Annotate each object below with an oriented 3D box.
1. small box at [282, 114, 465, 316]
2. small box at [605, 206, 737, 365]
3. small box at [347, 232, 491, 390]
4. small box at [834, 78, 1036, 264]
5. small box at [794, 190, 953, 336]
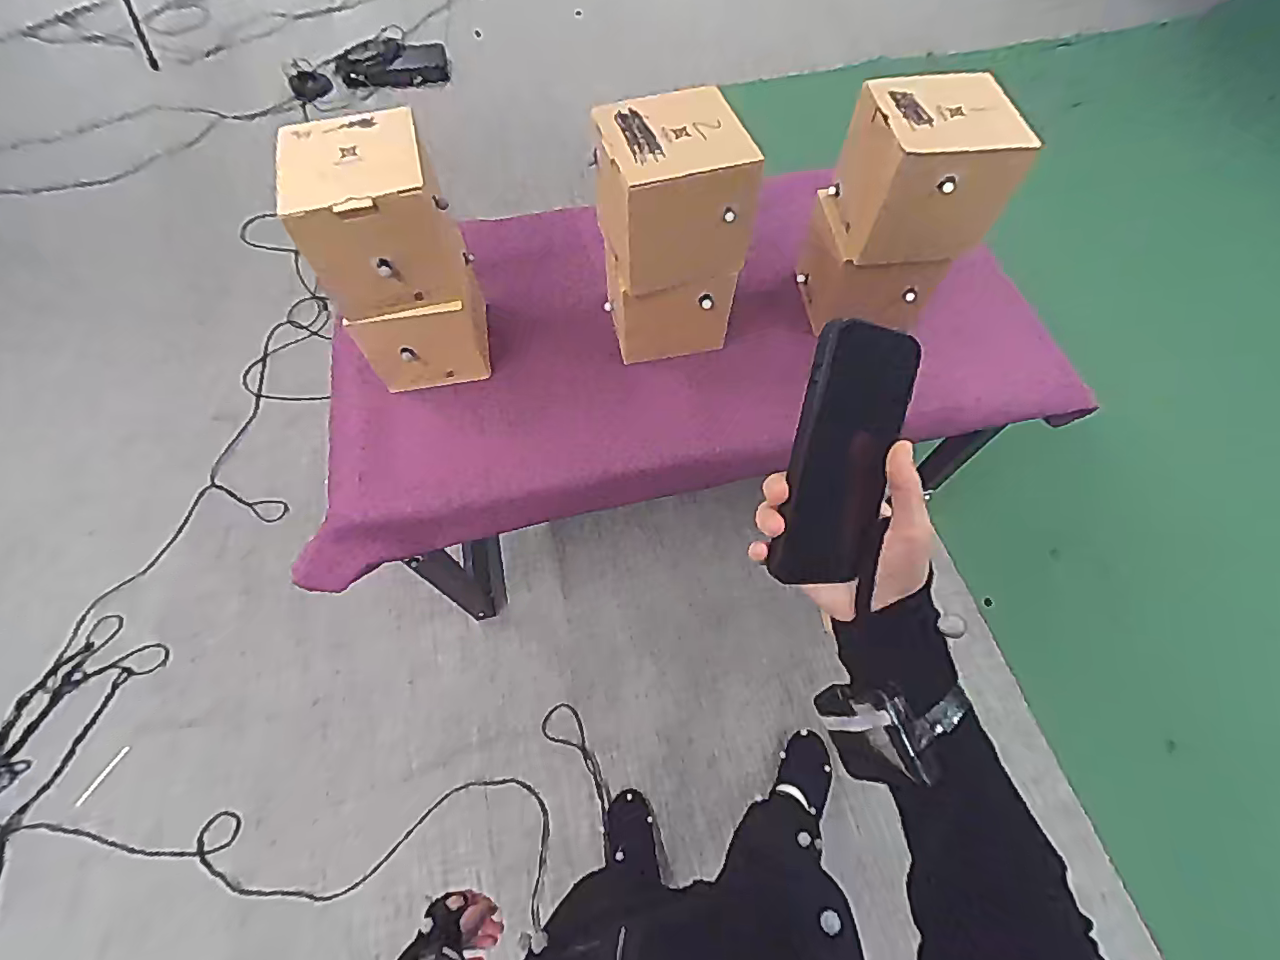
[{"bbox_3d":[-0.346,-0.342,0.724,0.168,0.176,0.179,-14,64,-7],"label":"small box"},{"bbox_3d":[0.044,-0.313,0.888,0.179,0.176,0.168,-11,63,-5],"label":"small box"},{"bbox_3d":[-0.343,-0.260,0.867,0.168,0.176,0.179,-10,63,-4],"label":"small box"},{"bbox_3d":[0.390,-0.425,0.760,0.179,0.176,0.168,-5,63,-3],"label":"small box"},{"bbox_3d":[0.380,-0.362,0.911,0.179,0.176,0.168,-5,62,-2],"label":"small box"}]
